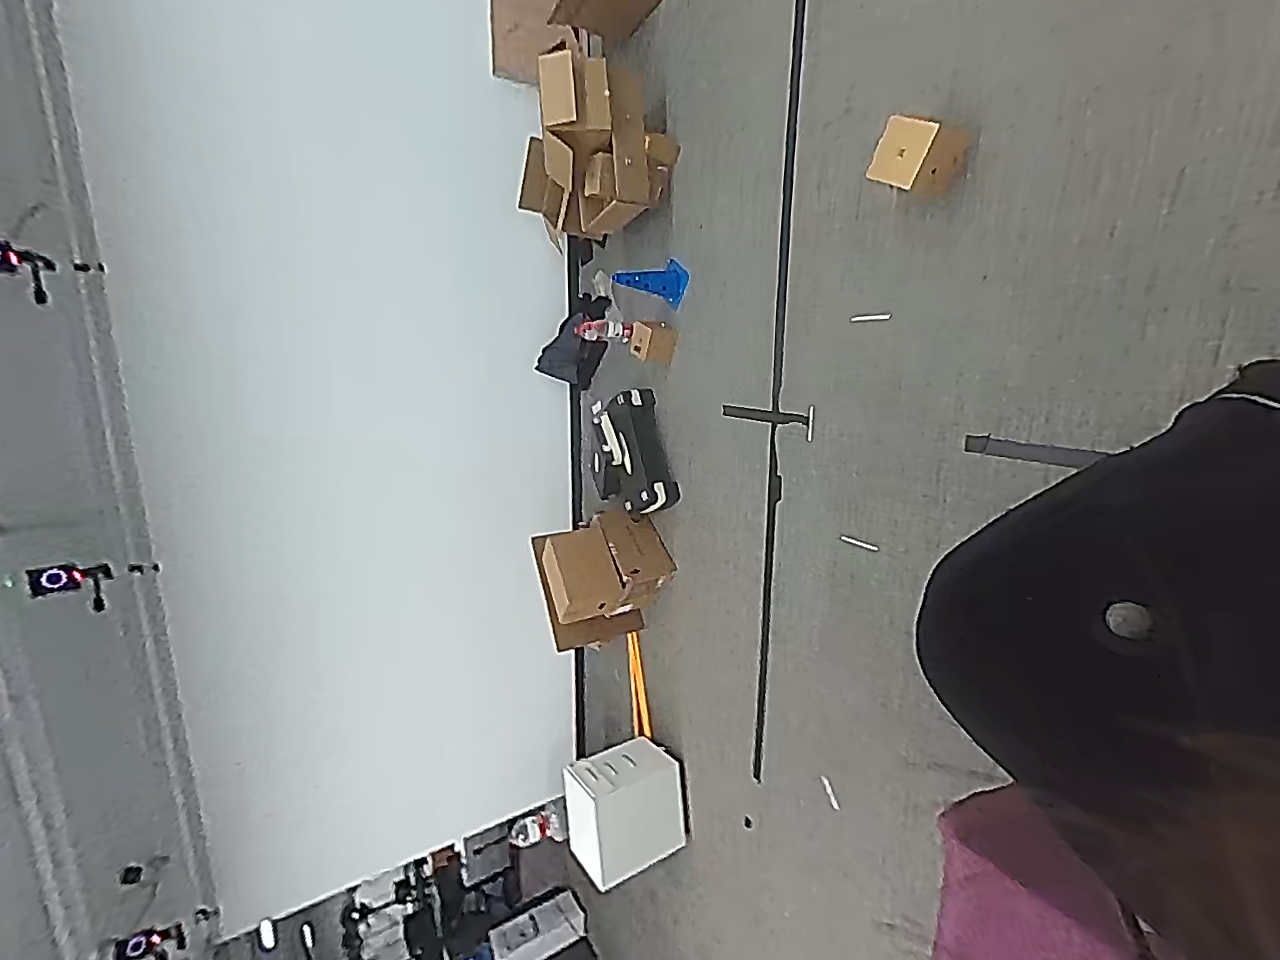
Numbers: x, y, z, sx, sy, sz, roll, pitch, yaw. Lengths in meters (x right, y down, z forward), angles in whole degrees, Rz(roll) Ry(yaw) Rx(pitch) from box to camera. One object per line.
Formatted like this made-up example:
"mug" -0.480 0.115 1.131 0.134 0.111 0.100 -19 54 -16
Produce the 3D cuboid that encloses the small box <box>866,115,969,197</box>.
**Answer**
"small box" 0.814 -0.945 1.585 0.179 0.176 0.168 52 137 41
